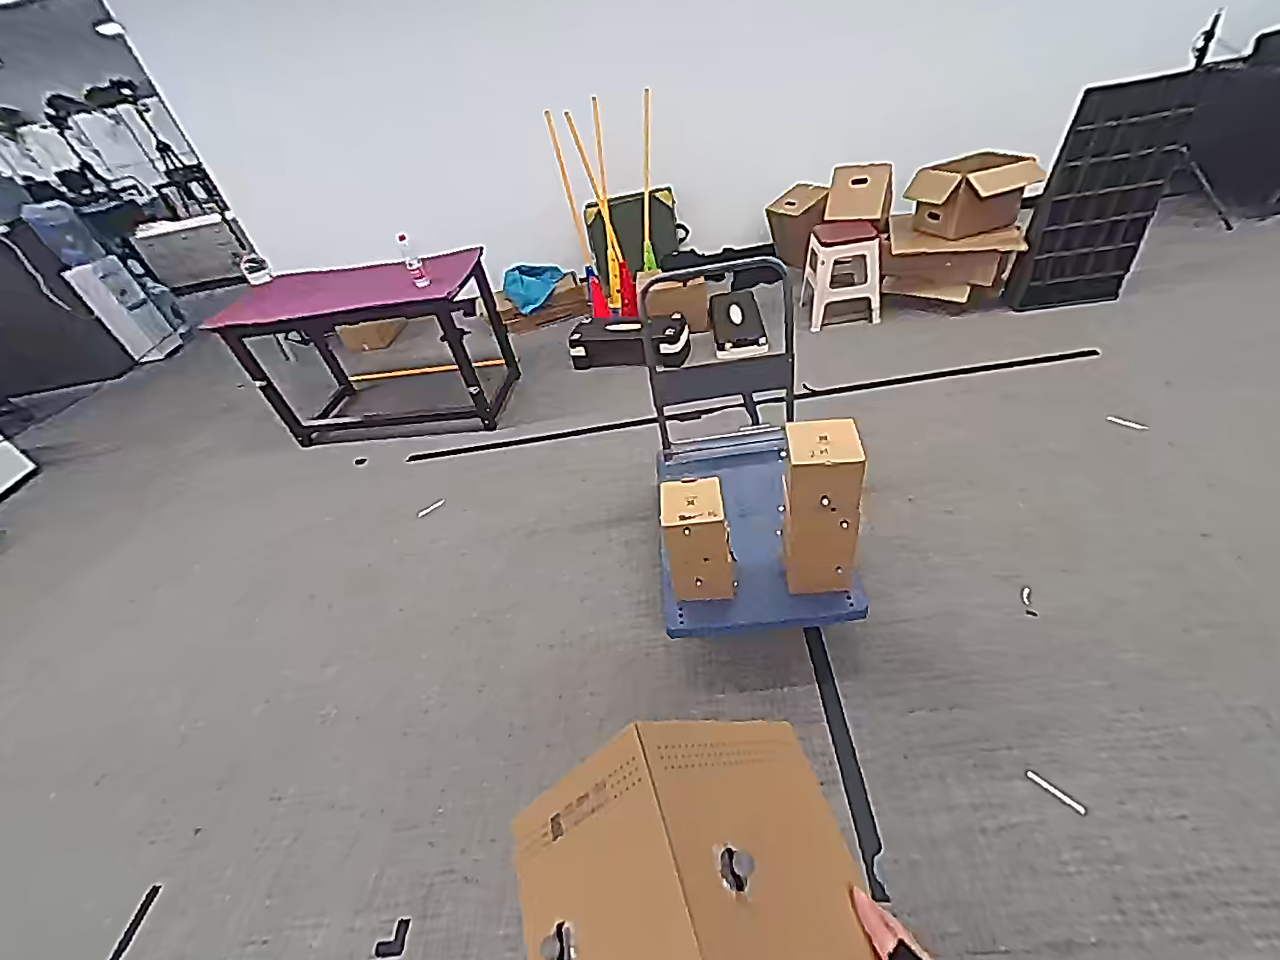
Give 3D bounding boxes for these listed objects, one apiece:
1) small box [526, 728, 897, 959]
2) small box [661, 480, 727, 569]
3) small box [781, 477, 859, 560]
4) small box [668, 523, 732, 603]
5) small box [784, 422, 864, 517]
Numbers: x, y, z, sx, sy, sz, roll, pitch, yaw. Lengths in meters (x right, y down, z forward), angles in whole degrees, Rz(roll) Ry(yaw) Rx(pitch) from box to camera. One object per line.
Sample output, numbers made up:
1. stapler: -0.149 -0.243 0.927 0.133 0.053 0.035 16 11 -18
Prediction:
1. small box: 0.037 0.295 0.387 0.168 0.179 0.176 -48 43 26
2. small box: 0.150 0.125 1.504 0.168 0.176 0.179 -7 39 7
3. small box: 0.476 0.101 1.452 0.179 0.176 0.168 -3 41 9
4. small box: 0.181 0.249 1.608 0.179 0.176 0.168 -5 40 10
5. small box: 0.450 -0.025 1.349 0.168 0.176 0.179 -3 41 11
